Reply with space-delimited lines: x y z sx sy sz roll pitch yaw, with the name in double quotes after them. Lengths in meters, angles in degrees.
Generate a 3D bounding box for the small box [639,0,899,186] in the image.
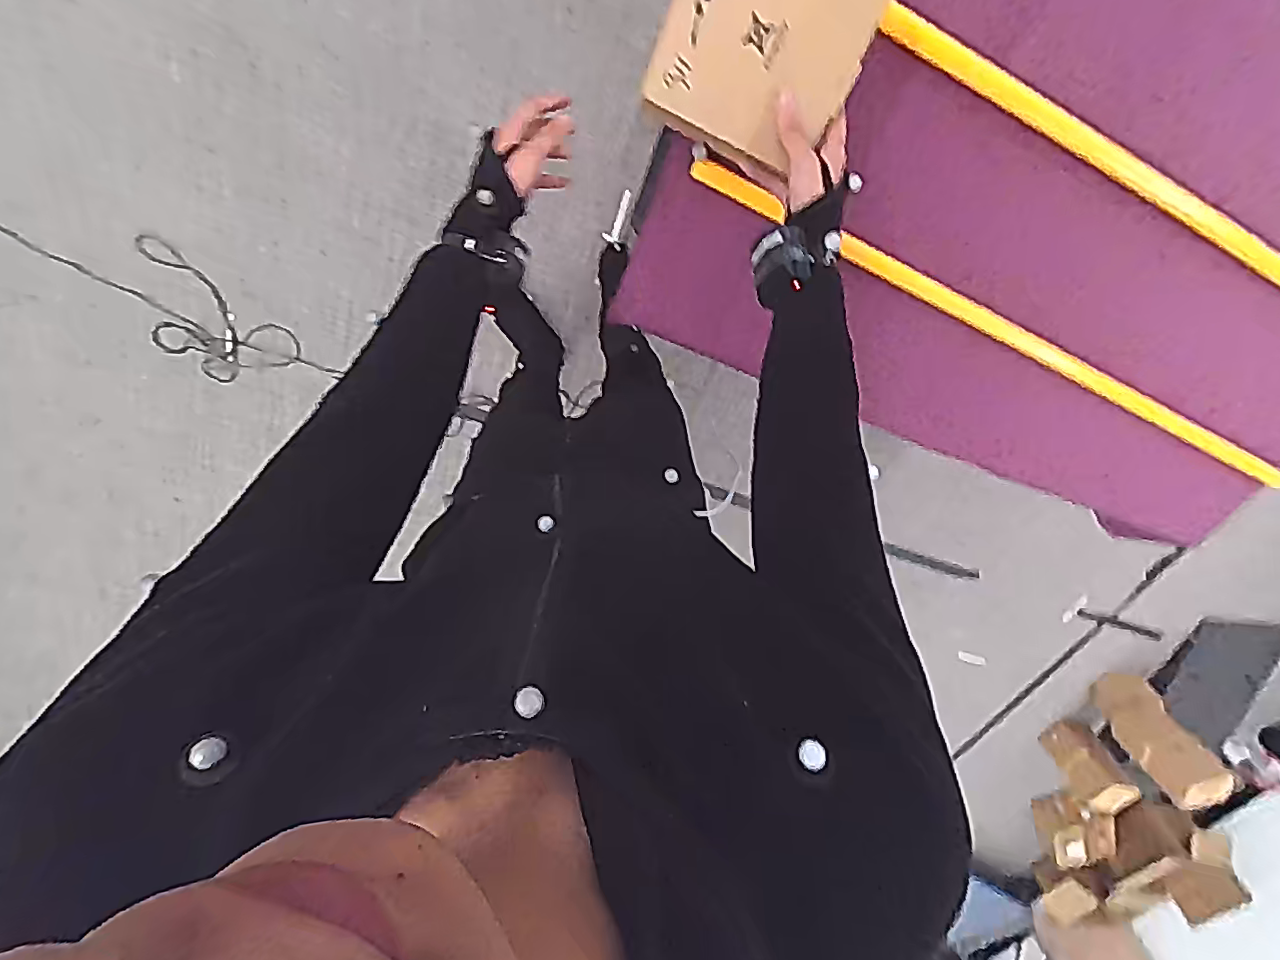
0.111 -0.427 0.549 0.179 0.176 0.168 20 118 -14 "small box"
